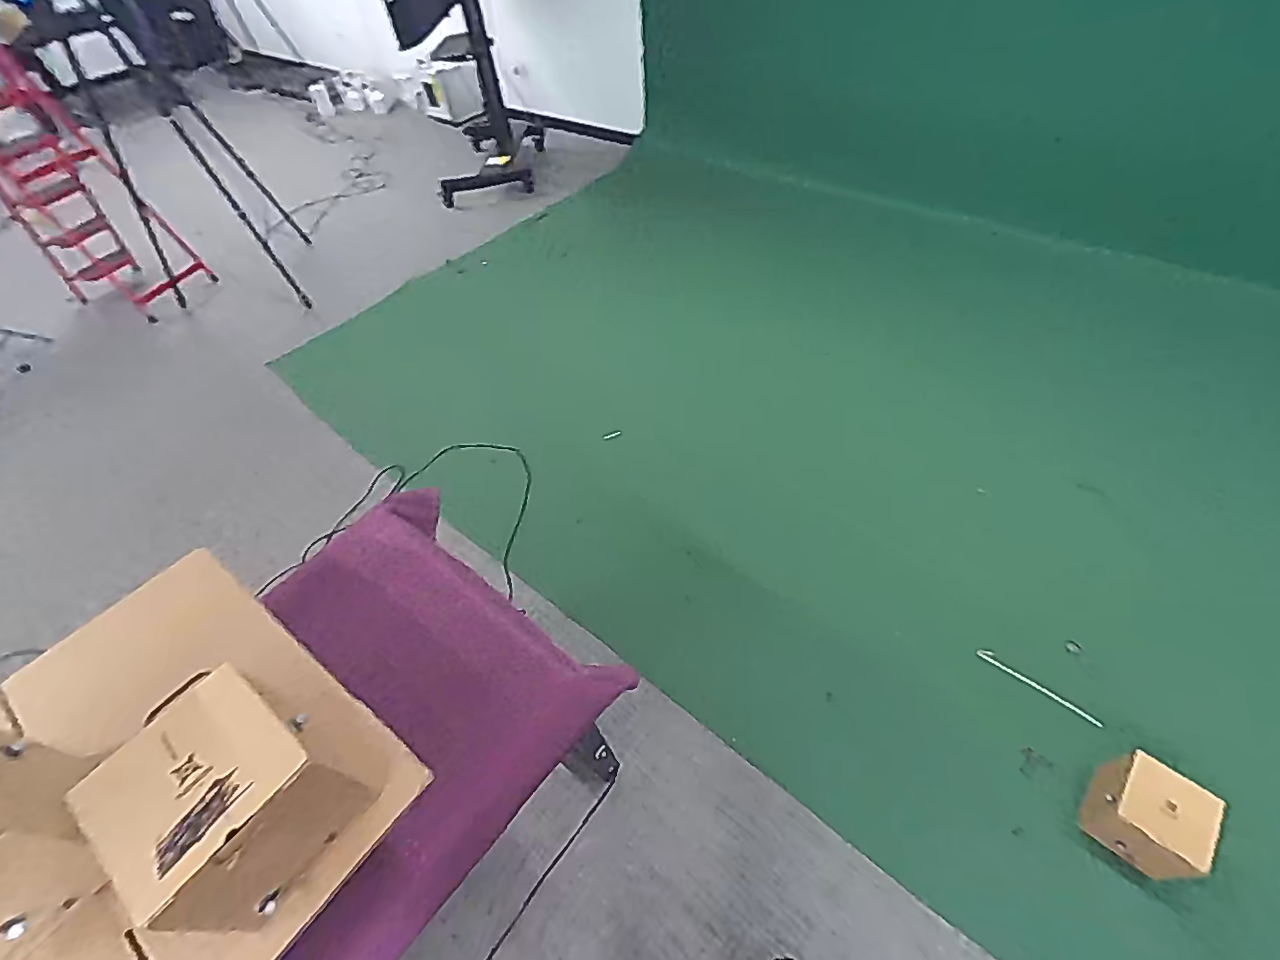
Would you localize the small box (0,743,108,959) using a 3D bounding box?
[{"bbox_3d":[-0.697,0.402,0.554,0.179,0.176,0.168,29,56,25],"label":"small box"}]

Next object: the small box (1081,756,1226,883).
[{"bbox_3d":[1.158,0.774,1.232,0.168,0.176,0.179,32,61,27],"label":"small box"}]

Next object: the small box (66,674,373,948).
[{"bbox_3d":[-0.430,0.351,0.583,0.179,0.176,0.168,27,56,25],"label":"small box"}]
